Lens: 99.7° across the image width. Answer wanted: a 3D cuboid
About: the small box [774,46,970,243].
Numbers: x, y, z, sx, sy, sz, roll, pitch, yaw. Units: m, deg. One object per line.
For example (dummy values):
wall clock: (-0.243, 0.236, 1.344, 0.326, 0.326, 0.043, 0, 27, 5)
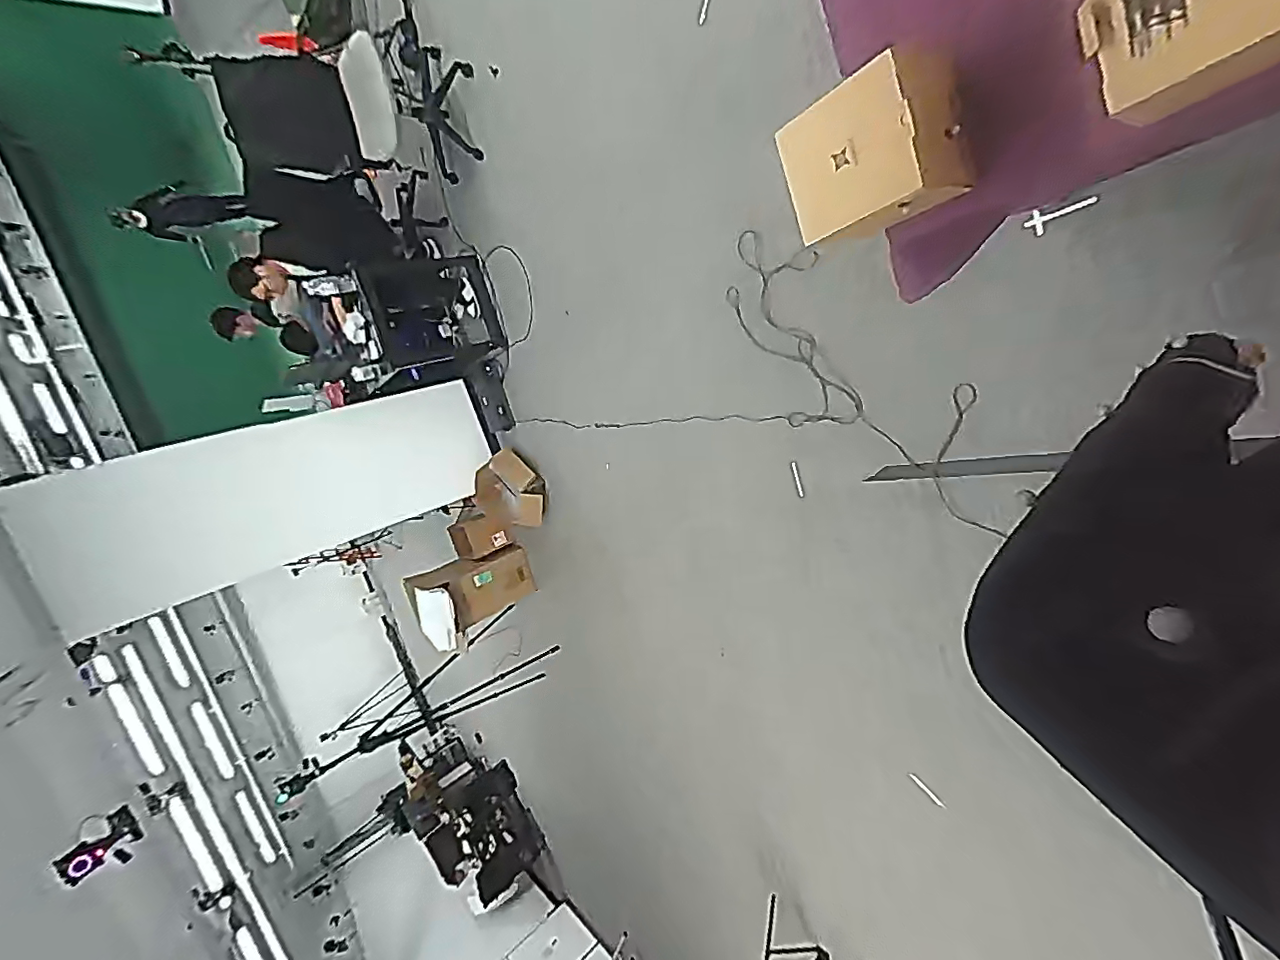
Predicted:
small box: (0.324, -0.451, 0.757, 0.179, 0.176, 0.168, -9, 102, 52)
